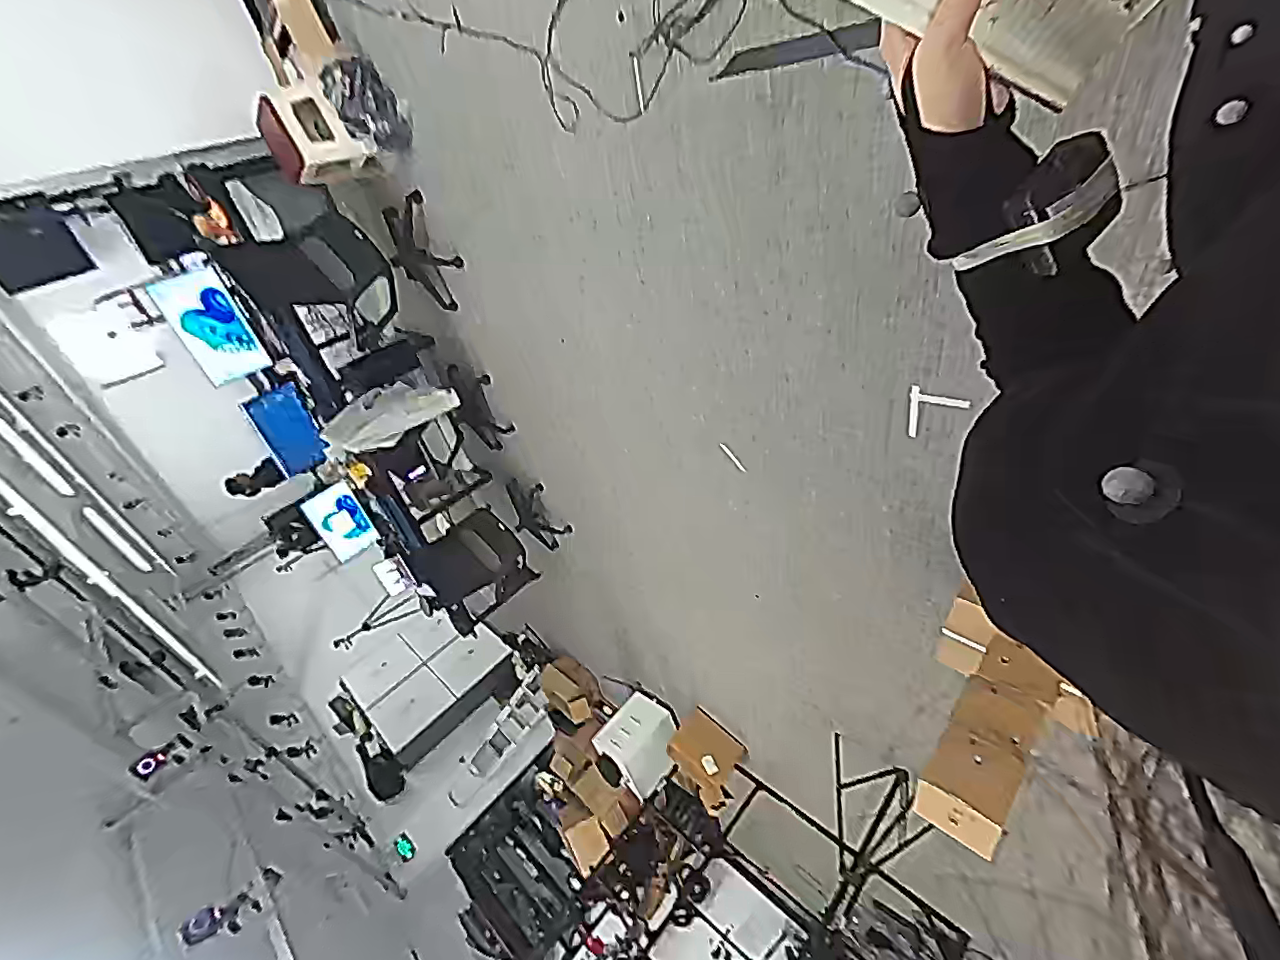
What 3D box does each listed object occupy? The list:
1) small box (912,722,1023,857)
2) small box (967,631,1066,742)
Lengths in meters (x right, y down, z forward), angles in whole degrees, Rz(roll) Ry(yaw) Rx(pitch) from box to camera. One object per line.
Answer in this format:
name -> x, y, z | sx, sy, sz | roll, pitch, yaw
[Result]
small box -> 0.748, 0.702, 1.239 | 0.168, 0.176, 0.179 | 21, 138, 40
small box -> 0.975, 0.526, 1.400 | 0.168, 0.176, 0.179 | 20, 138, 42
